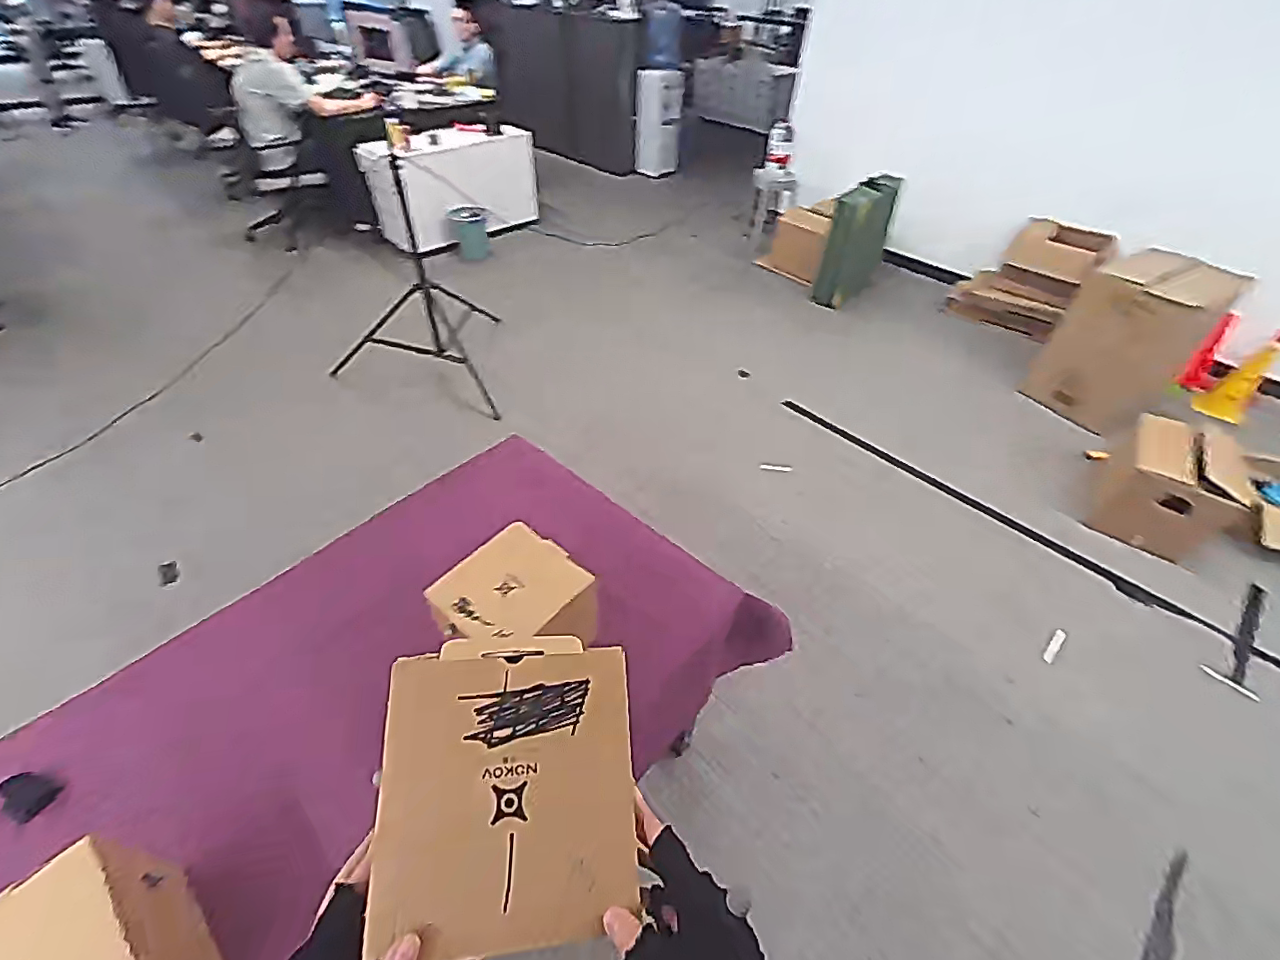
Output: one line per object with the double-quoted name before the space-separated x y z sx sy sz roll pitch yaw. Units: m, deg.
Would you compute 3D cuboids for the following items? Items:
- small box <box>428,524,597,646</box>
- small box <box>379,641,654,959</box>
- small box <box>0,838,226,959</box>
"small box" -0.182 0.206 0.810 0.168 0.176 0.179 31 51 26
"small box" -0.093 0.236 0.431 0.168 0.176 0.179 1 63 -12
"small box" -0.529 0.489 0.505 0.179 0.176 0.168 32 52 26
